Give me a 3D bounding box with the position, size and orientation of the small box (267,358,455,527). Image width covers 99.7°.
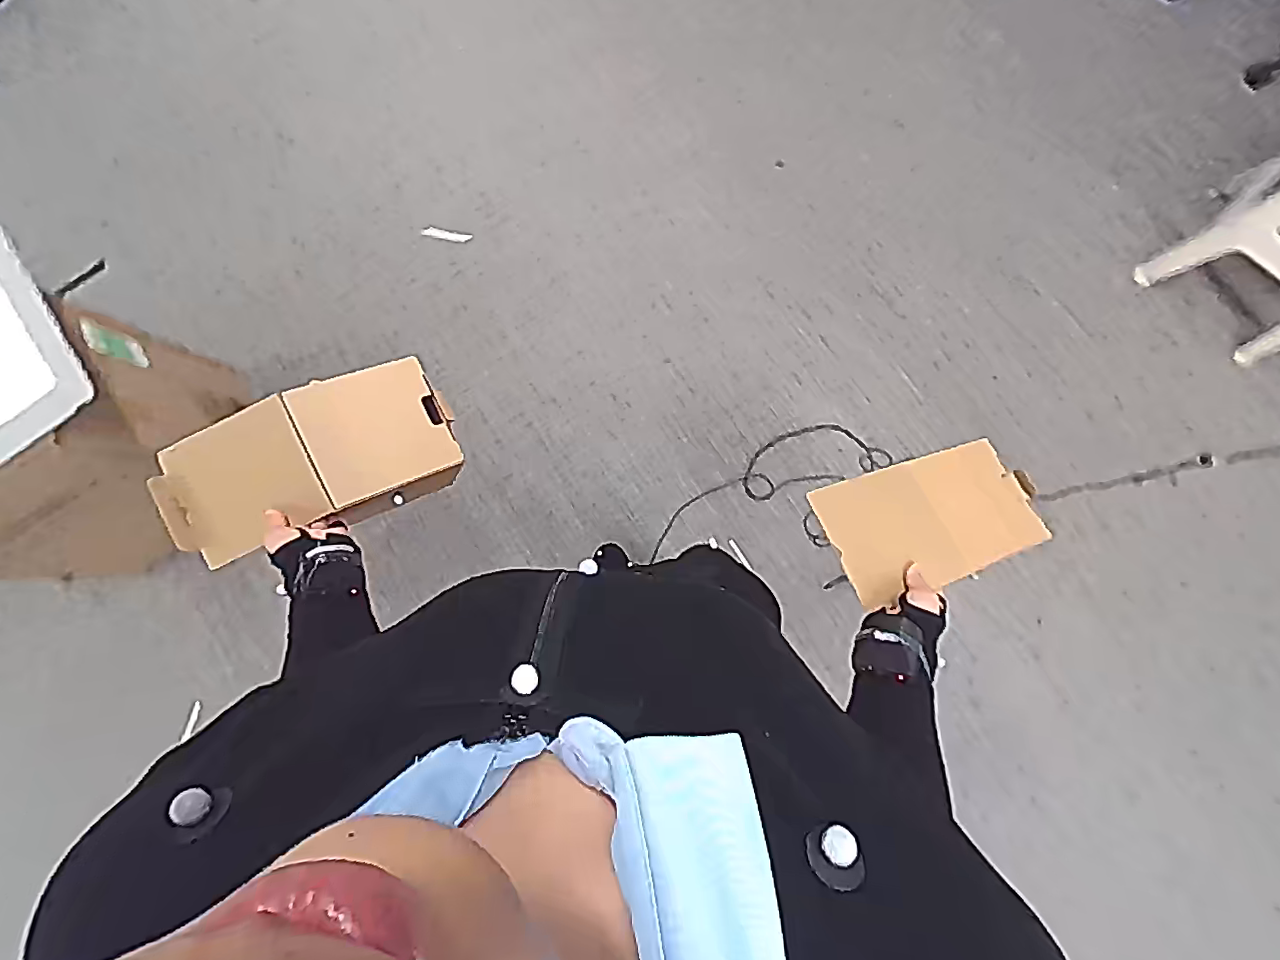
[{"bbox_3d":[-0.388,-0.045,0.770,0.179,0.176,0.168,-27,91,-28],"label":"small box"}]
